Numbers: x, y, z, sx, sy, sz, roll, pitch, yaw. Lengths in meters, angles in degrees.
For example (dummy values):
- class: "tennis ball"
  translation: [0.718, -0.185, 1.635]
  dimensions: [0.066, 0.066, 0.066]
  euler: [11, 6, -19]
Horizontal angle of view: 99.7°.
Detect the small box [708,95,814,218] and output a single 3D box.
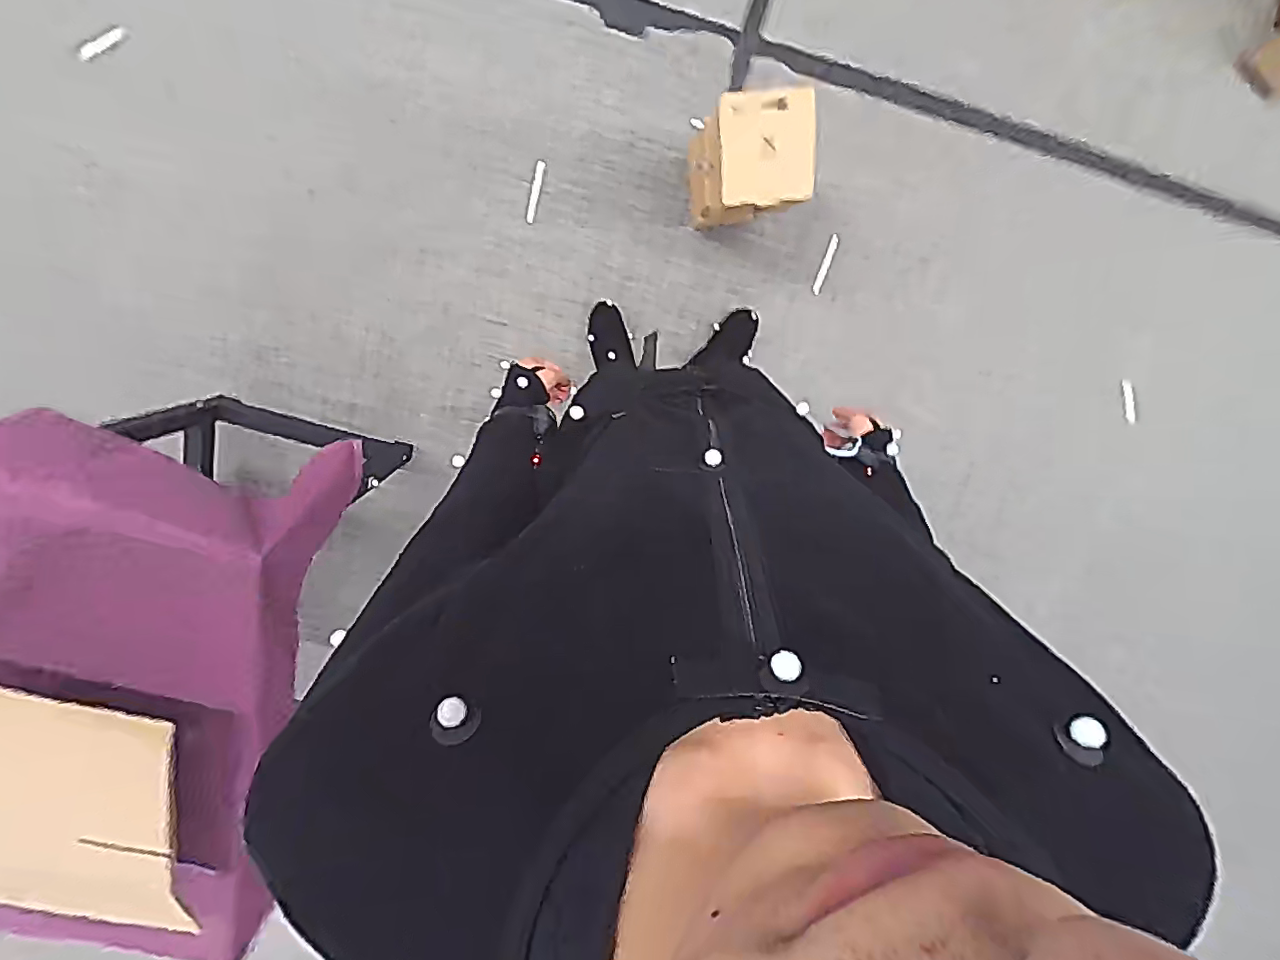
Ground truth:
- class: "small box"
  translation: [0.225, -0.610, 1.041]
  dimensions: [0.168, 0.176, 0.179]
  euler: [-4, 110, 1]
